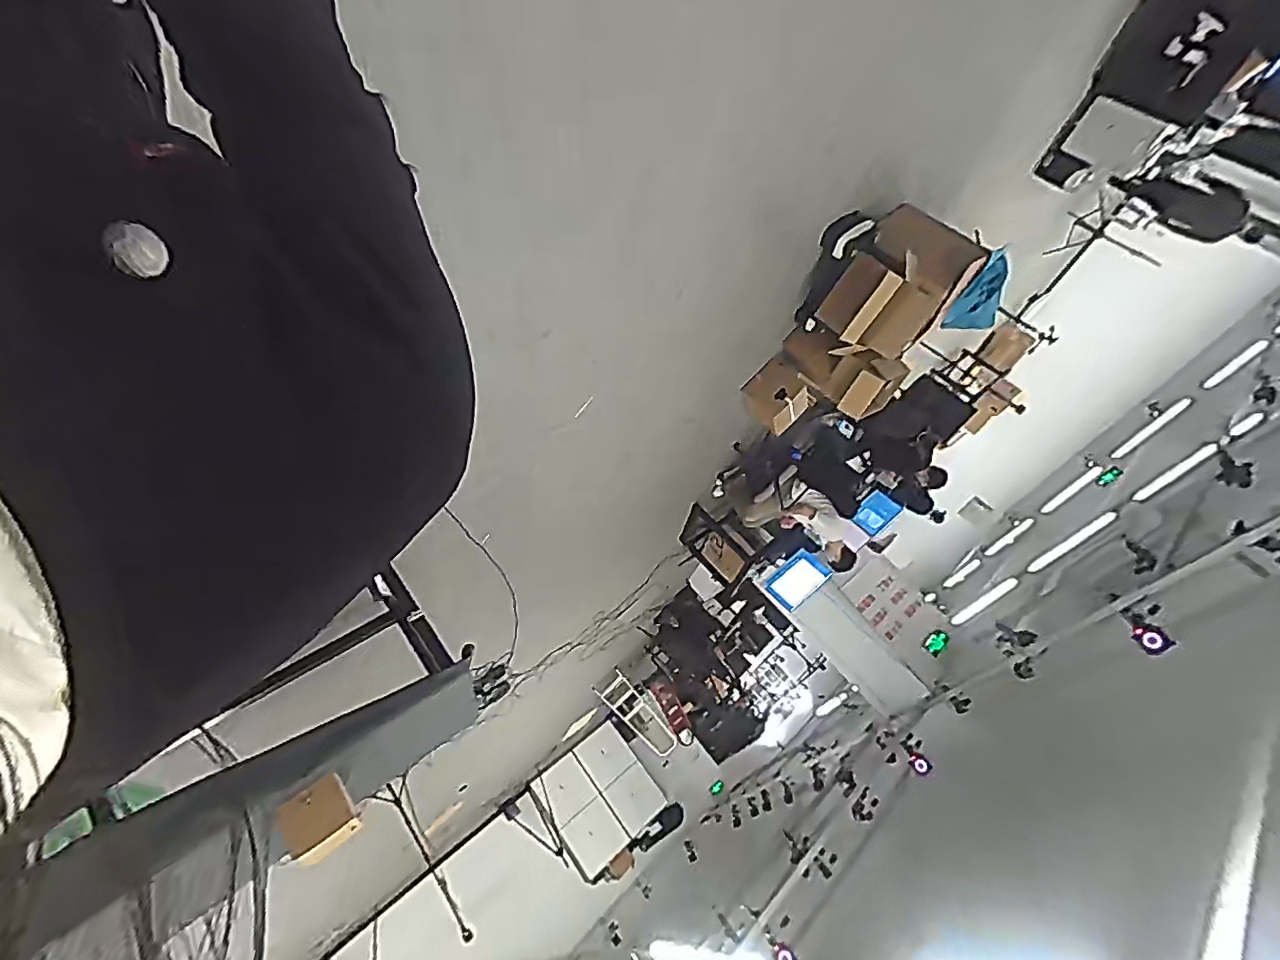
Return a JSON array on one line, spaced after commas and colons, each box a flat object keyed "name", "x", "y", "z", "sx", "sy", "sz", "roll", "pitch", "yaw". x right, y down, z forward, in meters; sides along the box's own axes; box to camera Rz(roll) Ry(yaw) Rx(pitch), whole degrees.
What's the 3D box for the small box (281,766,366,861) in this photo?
[{"name": "small box", "x": -0.989, "y": 1.036, "z": 1.684, "sx": 0.179, "sy": 0.176, "sz": 0.168, "roll": -27, "pitch": 153, "yaw": -33}]
